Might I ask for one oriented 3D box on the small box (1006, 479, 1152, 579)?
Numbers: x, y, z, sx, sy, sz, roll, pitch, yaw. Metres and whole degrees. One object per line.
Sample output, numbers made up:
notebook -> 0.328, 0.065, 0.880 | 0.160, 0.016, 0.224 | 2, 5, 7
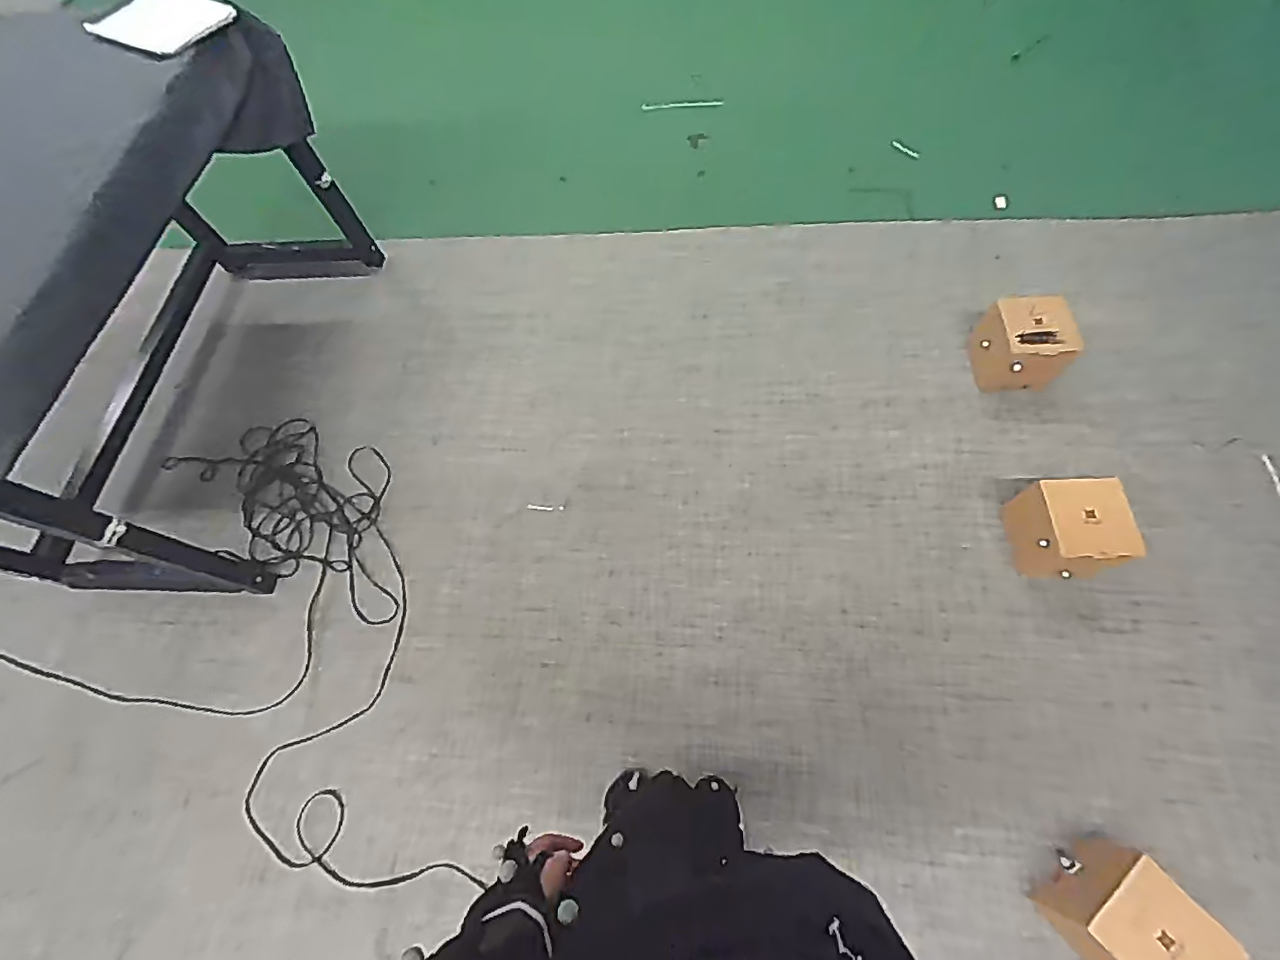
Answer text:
small box -> 0.948, 0.112, 1.189 | 0.168, 0.176, 0.179 | -1, 66, 5

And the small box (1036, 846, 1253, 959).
small box -> 0.832, 0.761, 0.909 | 0.168, 0.176, 0.179 | -38, 67, -13
